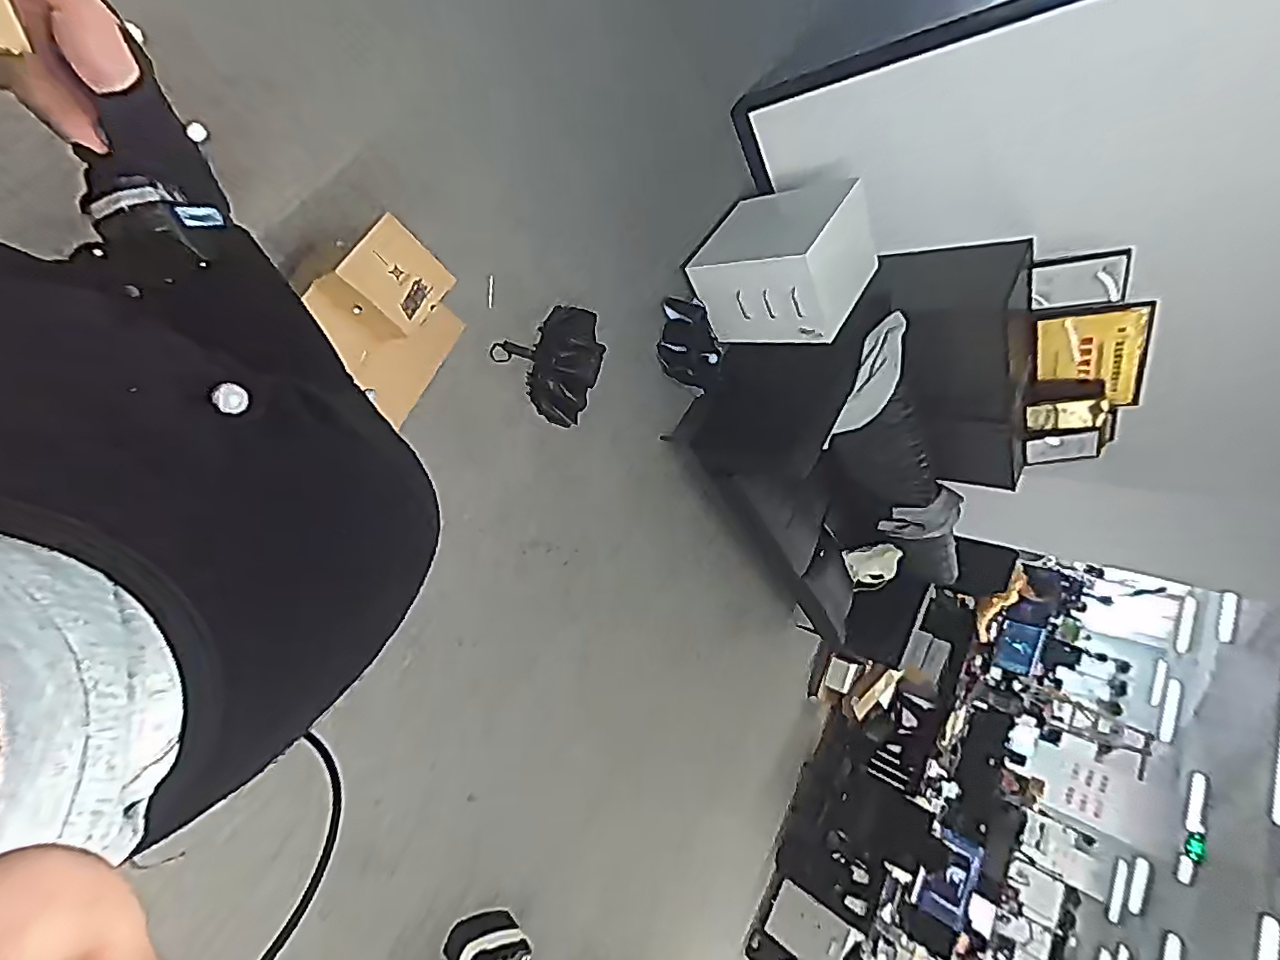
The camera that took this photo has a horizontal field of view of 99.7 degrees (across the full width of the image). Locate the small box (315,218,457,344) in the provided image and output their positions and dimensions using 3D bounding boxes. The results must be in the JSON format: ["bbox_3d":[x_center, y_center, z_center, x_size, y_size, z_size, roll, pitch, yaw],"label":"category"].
[{"bbox_3d":[-0.523,-0.399,1.112,0.179,0.176,0.168,44,66,-39],"label":"small box"}]

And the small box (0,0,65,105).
[{"bbox_3d":[-0.385,-0.253,0.209,0.179,0.176,0.168,-30,130,-38],"label":"small box"}]
